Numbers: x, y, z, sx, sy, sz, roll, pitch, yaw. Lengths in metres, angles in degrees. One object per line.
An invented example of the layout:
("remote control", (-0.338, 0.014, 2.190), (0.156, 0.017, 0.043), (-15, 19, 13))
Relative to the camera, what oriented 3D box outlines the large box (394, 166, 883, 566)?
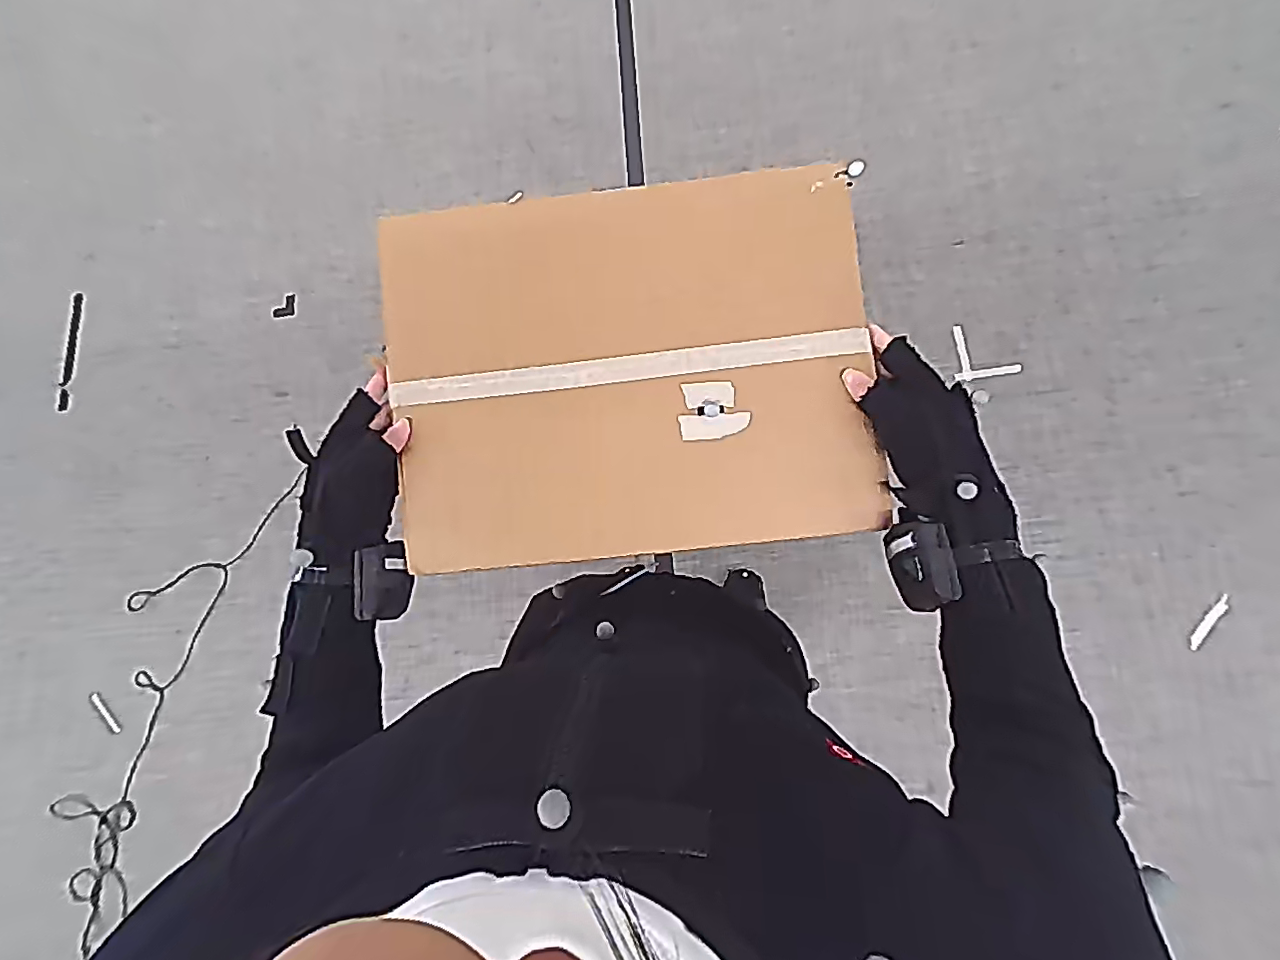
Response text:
("large box", (-0.004, -0.093, 0.618), (0.408, 0.320, 0.320), (-6, 88, 1))
